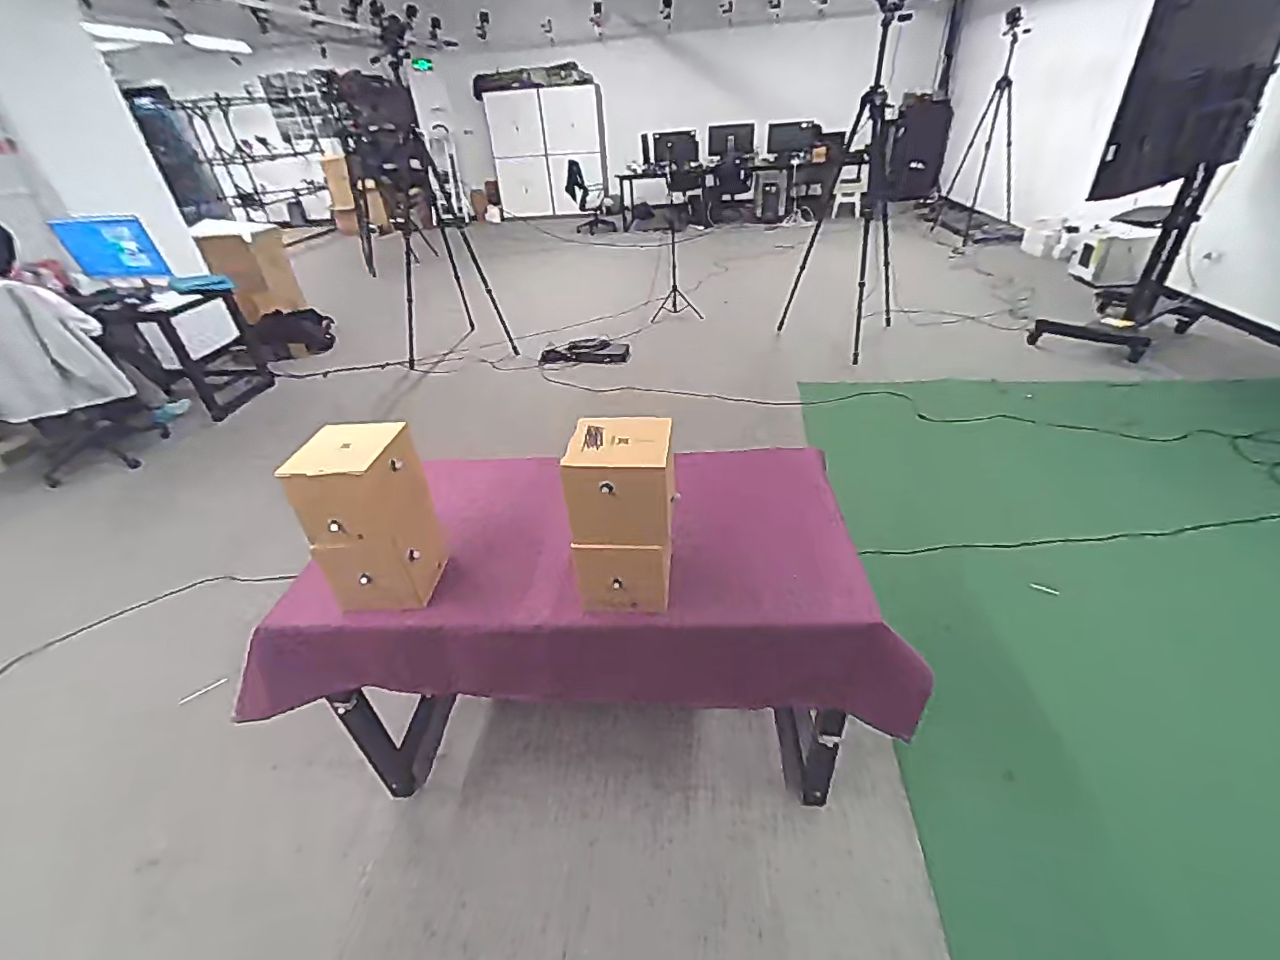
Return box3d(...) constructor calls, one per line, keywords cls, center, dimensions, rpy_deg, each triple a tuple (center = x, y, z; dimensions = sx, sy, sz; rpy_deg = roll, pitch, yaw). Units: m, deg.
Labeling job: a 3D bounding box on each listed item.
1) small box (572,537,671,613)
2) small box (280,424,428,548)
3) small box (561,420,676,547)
box3d(cls="small box", center=(-0.027, 0.143, 1.063), dimensions=(0.168, 0.176, 0.179), rpy_deg=(1, 35, 7))
box3d(cls="small box", center=(-0.523, 0.008, 1.022), dimensions=(0.168, 0.176, 0.179), rpy_deg=(-1, 35, 5))
box3d(cls="small box", center=(-0.028, 0.006, 0.972), dimensions=(0.179, 0.176, 0.168), rpy_deg=(2, 35, 7))
